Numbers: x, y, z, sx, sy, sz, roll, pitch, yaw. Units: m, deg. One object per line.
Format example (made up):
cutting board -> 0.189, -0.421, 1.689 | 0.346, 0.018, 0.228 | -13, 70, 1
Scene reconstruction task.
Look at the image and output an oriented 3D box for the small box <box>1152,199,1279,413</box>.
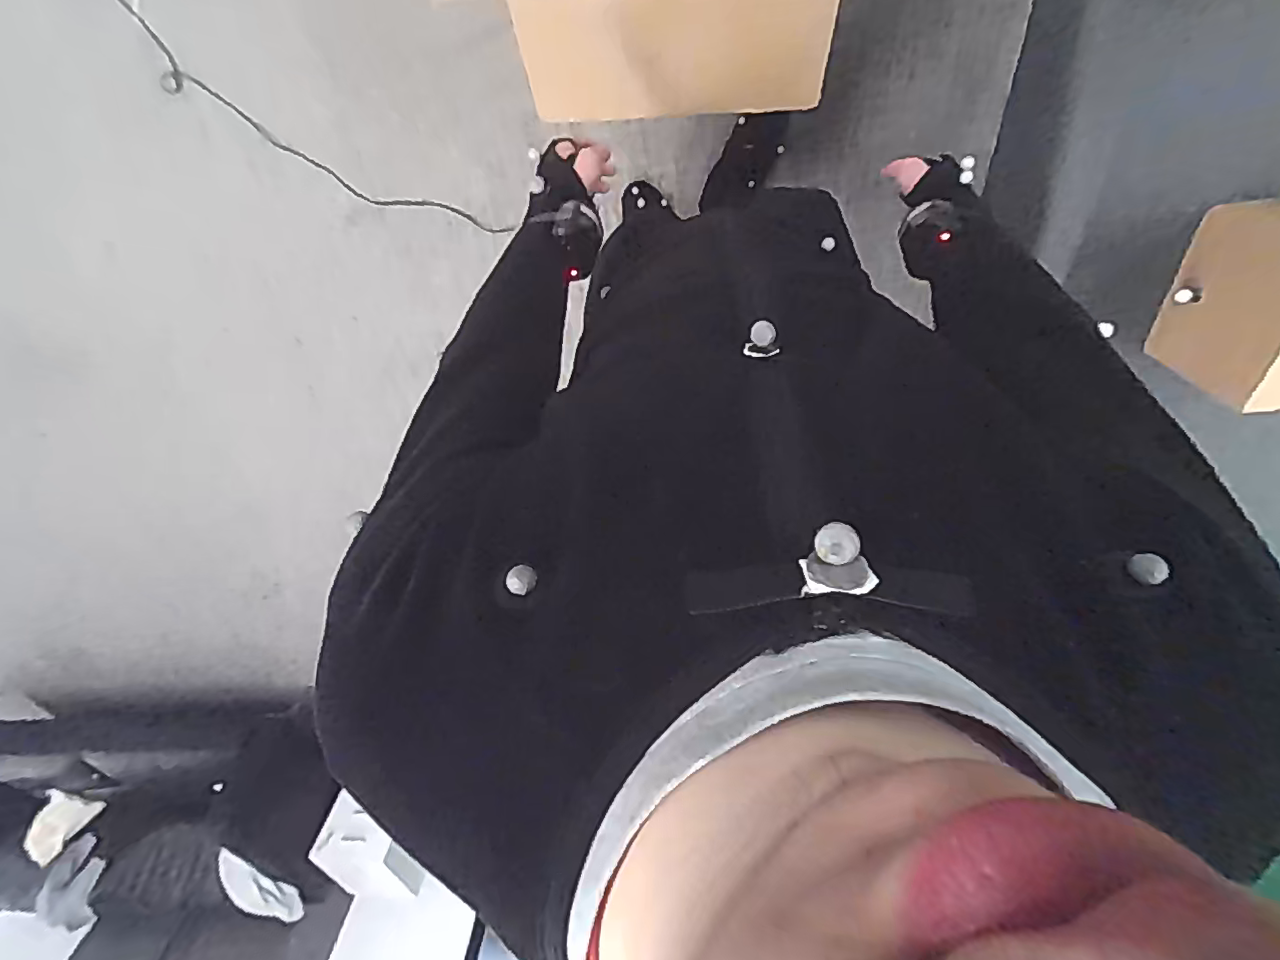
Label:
small box -> 0.718, -0.191, 0.582 | 0.168, 0.176, 0.179 | -2, 128, 9
